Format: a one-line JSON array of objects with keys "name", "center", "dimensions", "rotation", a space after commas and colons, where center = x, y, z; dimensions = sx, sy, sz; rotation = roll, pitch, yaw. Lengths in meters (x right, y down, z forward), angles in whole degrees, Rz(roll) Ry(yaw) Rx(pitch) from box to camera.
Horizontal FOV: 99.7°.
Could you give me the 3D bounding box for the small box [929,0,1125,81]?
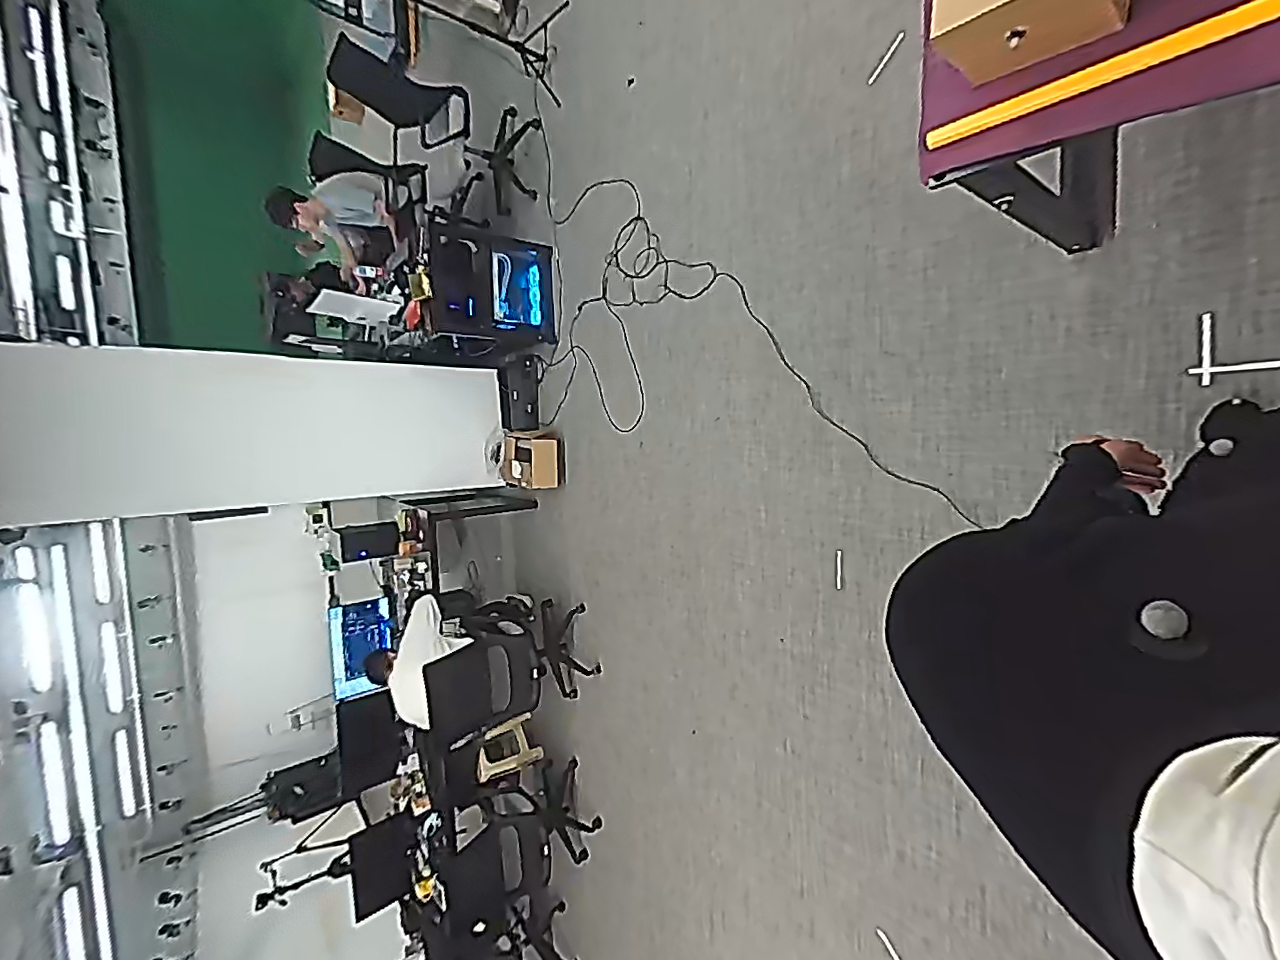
[{"name": "small box", "center": [0.500, -0.655, 0.685], "dimensions": [0.179, 0.176, 0.168], "rotation": [12, 104, 50]}]
